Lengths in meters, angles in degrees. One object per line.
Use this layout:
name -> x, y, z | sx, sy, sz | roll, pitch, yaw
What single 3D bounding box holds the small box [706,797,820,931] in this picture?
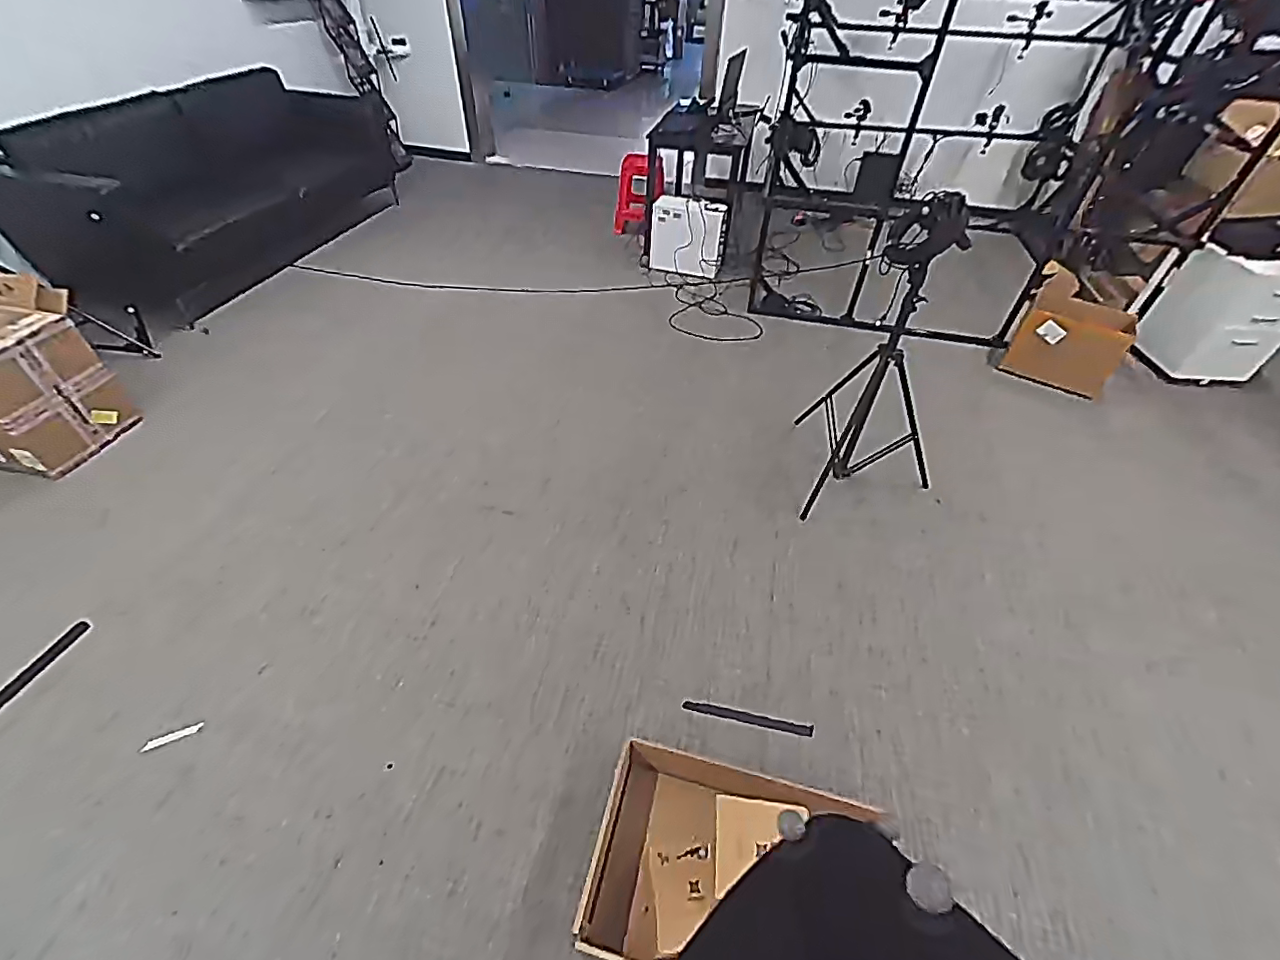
small box -> 0.223, 0.725, 1.019 | 0.179, 0.176, 0.168 | 5, 42, 4
